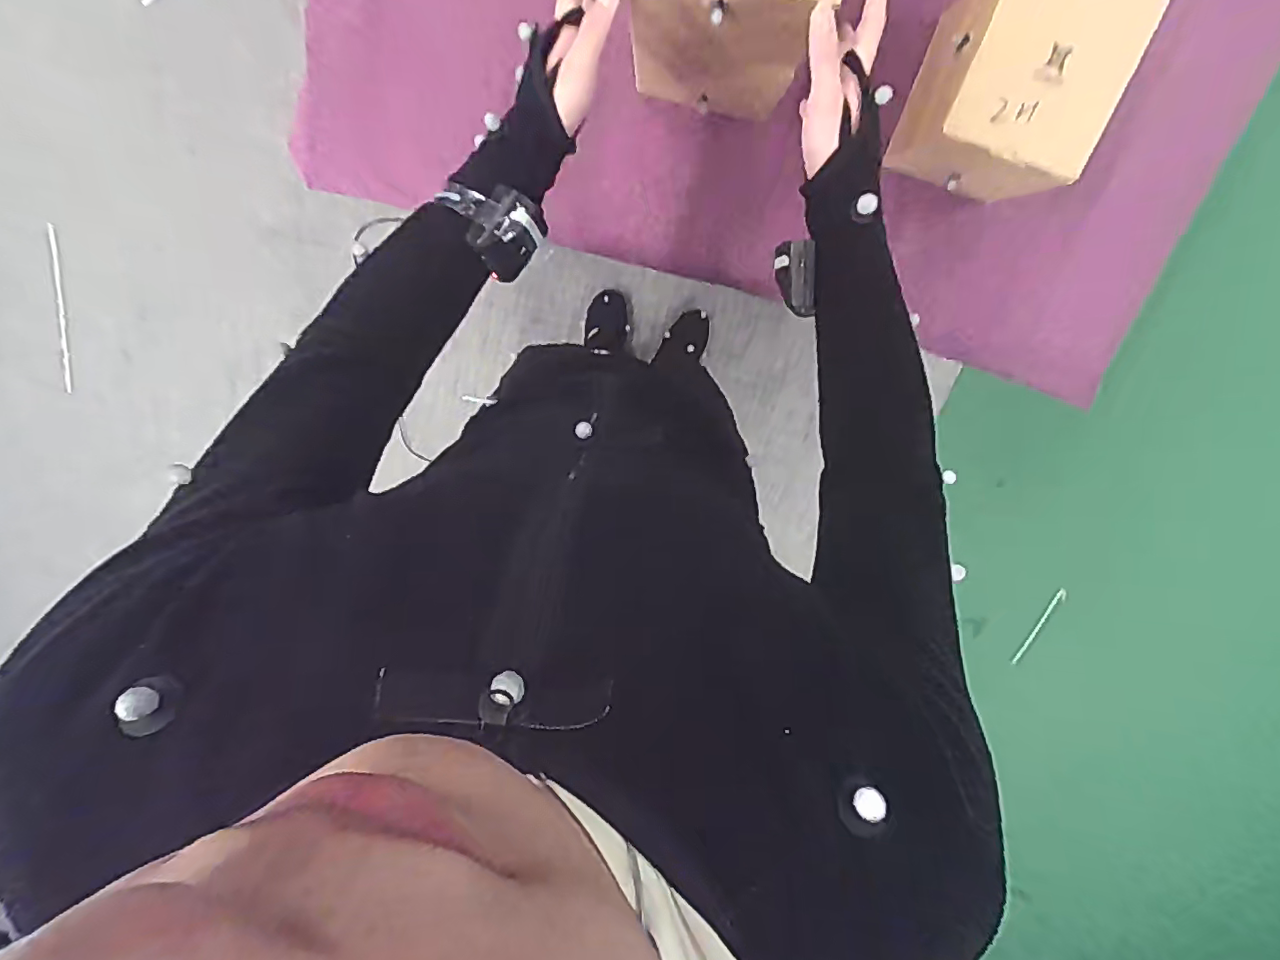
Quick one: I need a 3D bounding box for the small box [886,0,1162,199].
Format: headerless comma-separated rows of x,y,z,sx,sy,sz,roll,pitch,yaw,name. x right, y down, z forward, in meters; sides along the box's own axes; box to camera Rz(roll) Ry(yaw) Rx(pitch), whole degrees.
0.425,-0.459,0.639,0.168,0.176,0.179,17,110,-5,small box

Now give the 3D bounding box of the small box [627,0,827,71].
0.084,-0.486,0.462,0.179,0.176,0.168,11,111,-2,small box

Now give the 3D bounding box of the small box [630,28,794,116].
0.091,-0.543,0.616,0.179,0.176,0.168,11,110,-3,small box
